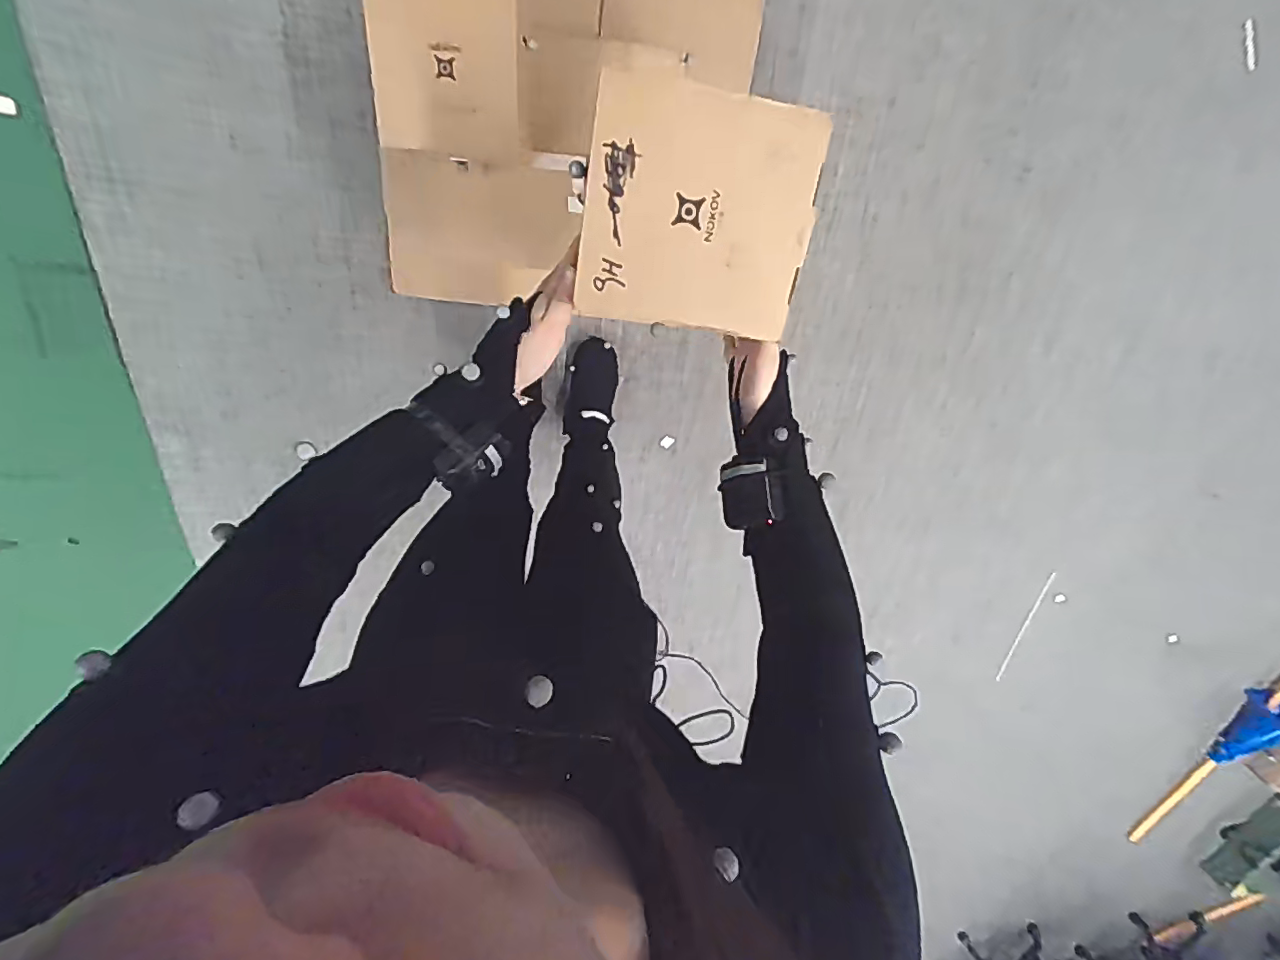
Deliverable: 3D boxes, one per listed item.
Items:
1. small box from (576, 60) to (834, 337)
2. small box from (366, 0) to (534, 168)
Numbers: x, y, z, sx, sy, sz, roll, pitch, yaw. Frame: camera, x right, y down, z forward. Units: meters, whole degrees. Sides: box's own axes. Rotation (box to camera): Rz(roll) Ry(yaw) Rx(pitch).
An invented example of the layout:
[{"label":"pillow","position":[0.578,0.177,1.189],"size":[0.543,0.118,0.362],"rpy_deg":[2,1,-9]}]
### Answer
[{"label":"small box","position":[0.039,-0.233,0.490],"size":[0.179,0.176,0.168],"rpy_deg":[7,107,-9]},{"label":"small box","position":[-0.225,-0.506,0.682],"size":[0.168,0.176,0.179],"rpy_deg":[1,117,-6]}]
